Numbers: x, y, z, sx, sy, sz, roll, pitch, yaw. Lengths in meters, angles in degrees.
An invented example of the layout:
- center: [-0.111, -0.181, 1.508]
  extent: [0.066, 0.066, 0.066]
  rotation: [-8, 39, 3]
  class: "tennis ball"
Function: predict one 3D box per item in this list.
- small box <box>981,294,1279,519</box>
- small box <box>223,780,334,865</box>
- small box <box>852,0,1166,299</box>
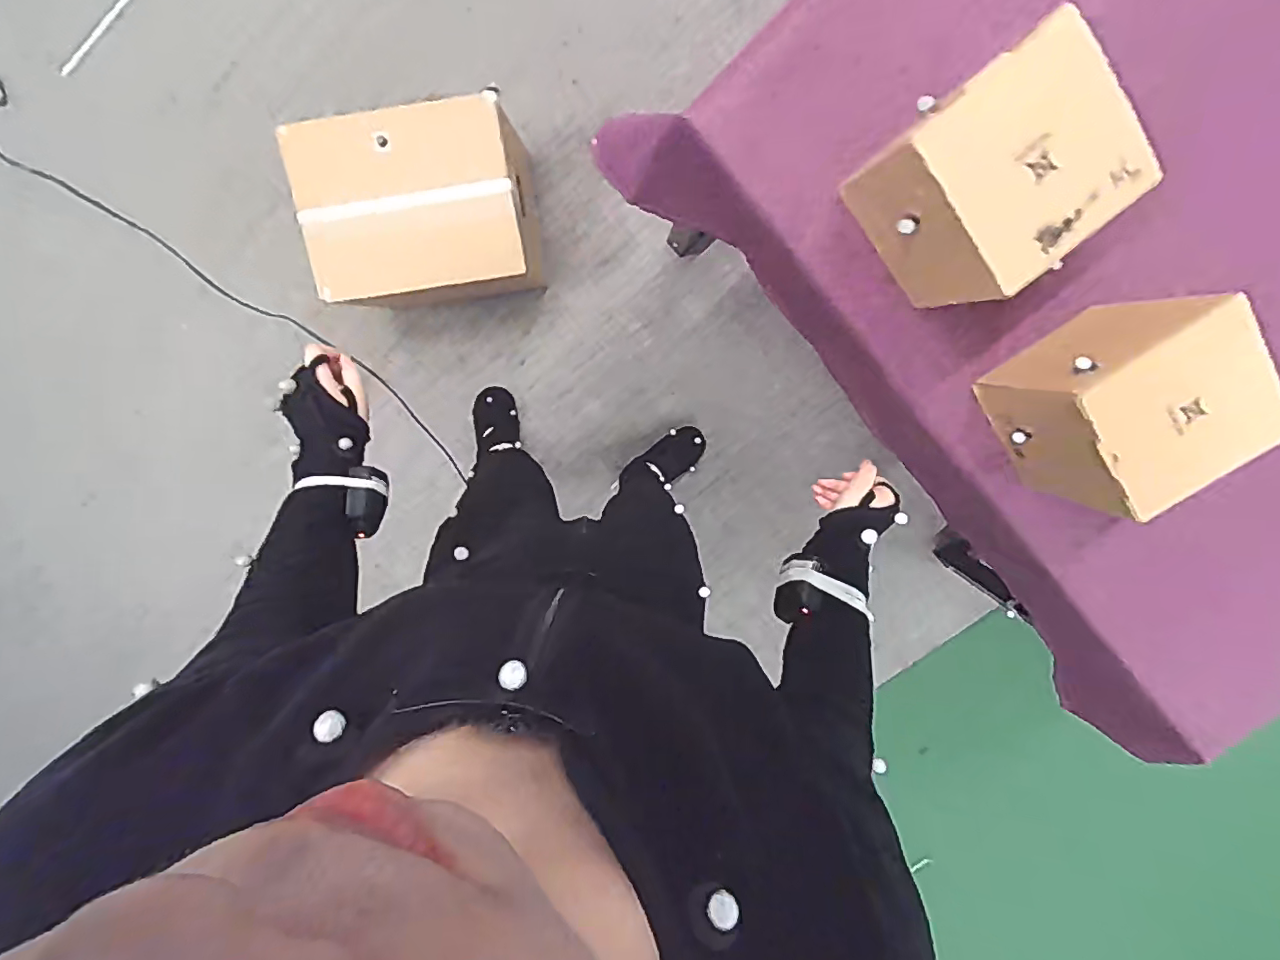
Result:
- center: [0.546, -0.090, 0.619]
  extent: [0.179, 0.176, 0.168]
  rotation: [-34, 103, 8]
  class: "small box"
- center: [-1.052, 1.035, 1.592]
  extent: [0.168, 0.176, 0.179]
  rotation: [-33, 103, 7]
  class: "small box"
- center: [0.353, -0.308, 0.555]
  extent: [0.168, 0.176, 0.179]
  rotation: [-38, 101, 9]
  class: "small box"
